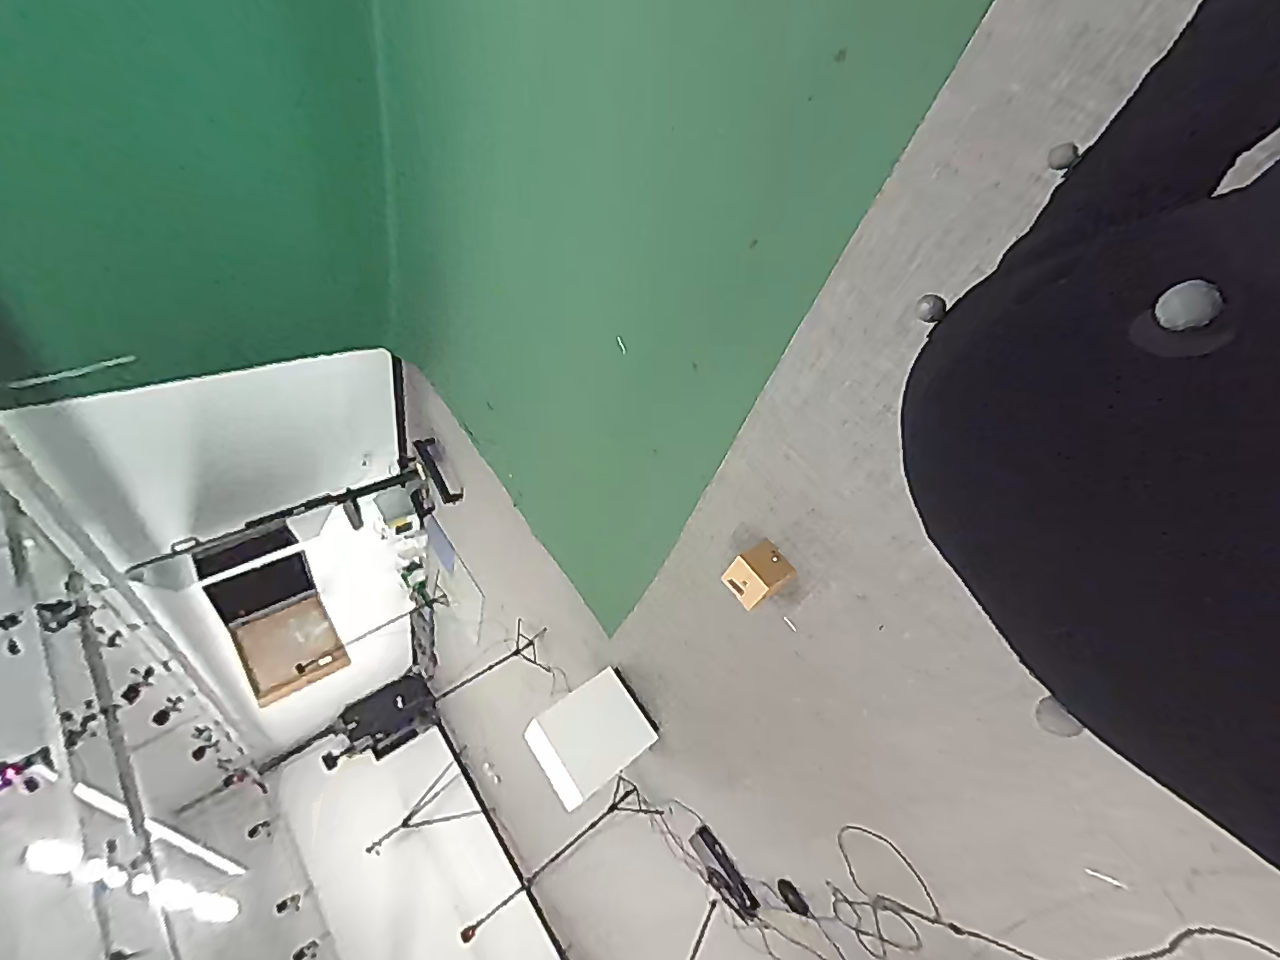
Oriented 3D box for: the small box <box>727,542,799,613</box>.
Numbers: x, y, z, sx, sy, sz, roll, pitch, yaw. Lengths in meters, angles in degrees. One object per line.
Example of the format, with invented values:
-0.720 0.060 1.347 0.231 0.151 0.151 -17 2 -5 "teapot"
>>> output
0.470 0.368 2.051 0.168 0.176 0.179 50 140 24 "small box"
